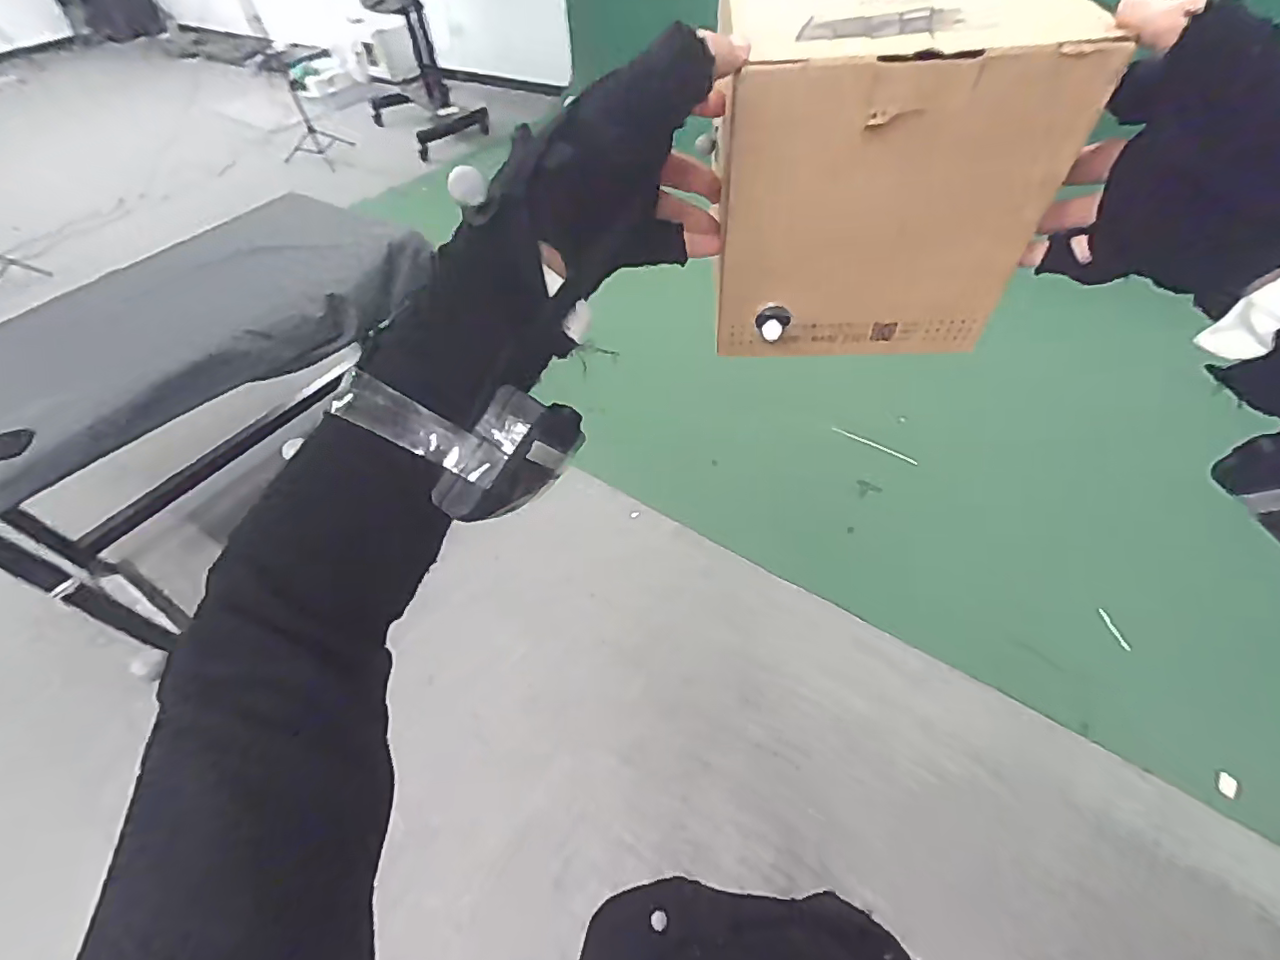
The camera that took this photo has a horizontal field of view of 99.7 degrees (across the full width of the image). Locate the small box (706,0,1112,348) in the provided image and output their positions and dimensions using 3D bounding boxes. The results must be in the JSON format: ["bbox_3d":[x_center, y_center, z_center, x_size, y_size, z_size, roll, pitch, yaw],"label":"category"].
[{"bbox_3d":[0.130,-0.200,0.347,0.168,0.176,0.179,0,53,4],"label":"small box"}]
